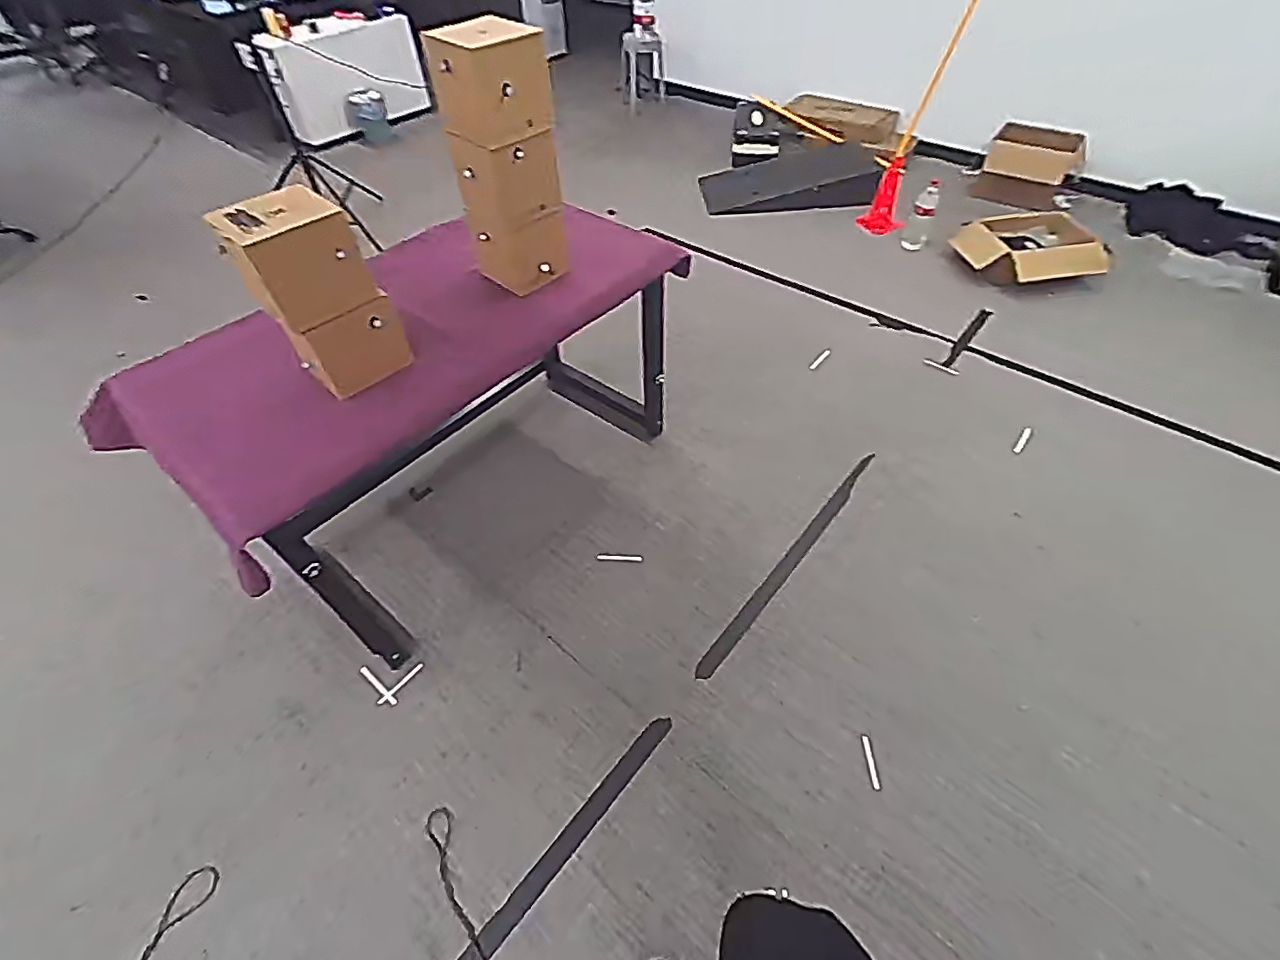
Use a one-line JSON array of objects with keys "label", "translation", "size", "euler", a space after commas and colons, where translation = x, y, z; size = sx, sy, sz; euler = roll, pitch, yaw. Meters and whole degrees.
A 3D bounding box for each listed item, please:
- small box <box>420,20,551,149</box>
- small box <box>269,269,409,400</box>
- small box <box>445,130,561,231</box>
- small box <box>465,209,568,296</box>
[{"label": "small box", "translation": [-0.300, -0.788, 1.086], "size": [0.179, 0.176, 0.168], "euler": [37, 61, 28]}, {"label": "small box", "translation": [-0.607, -0.299, 1.118], "size": [0.168, 0.176, 0.179], "euler": [35, 60, 27]}, {"label": "small box", "translation": [-0.302, -0.688, 1.216], "size": [0.168, 0.176, 0.179], "euler": [-39, 59, -25]}, {"label": "small box", "translation": [-0.301, -0.587, 1.345], "size": [0.179, 0.176, 0.168], "euler": [35, 60, 26]}]
